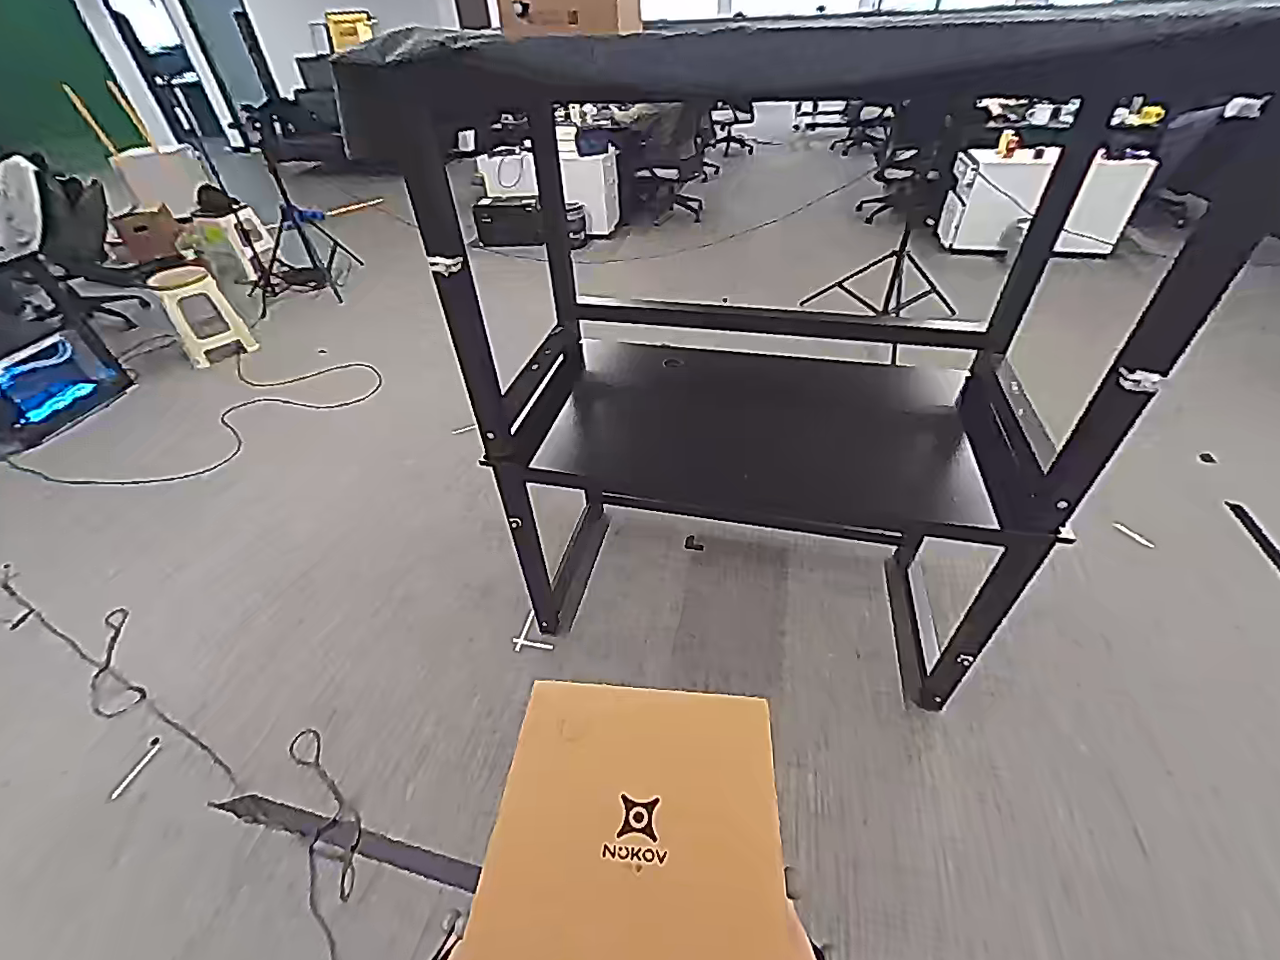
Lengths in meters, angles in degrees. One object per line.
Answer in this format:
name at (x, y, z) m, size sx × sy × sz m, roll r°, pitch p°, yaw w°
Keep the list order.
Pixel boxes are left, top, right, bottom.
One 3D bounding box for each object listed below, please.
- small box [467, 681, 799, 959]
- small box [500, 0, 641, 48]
small box at (0.002, 0.263, 0.360) m, size 0.168 × 0.176 × 0.179 m, roll 2°, pitch 38°, yaw 4°
small box at (-0.093, -0.701, 0.737) m, size 0.168 × 0.176 × 0.179 m, roll 6°, pitch 40°, yaw 9°
